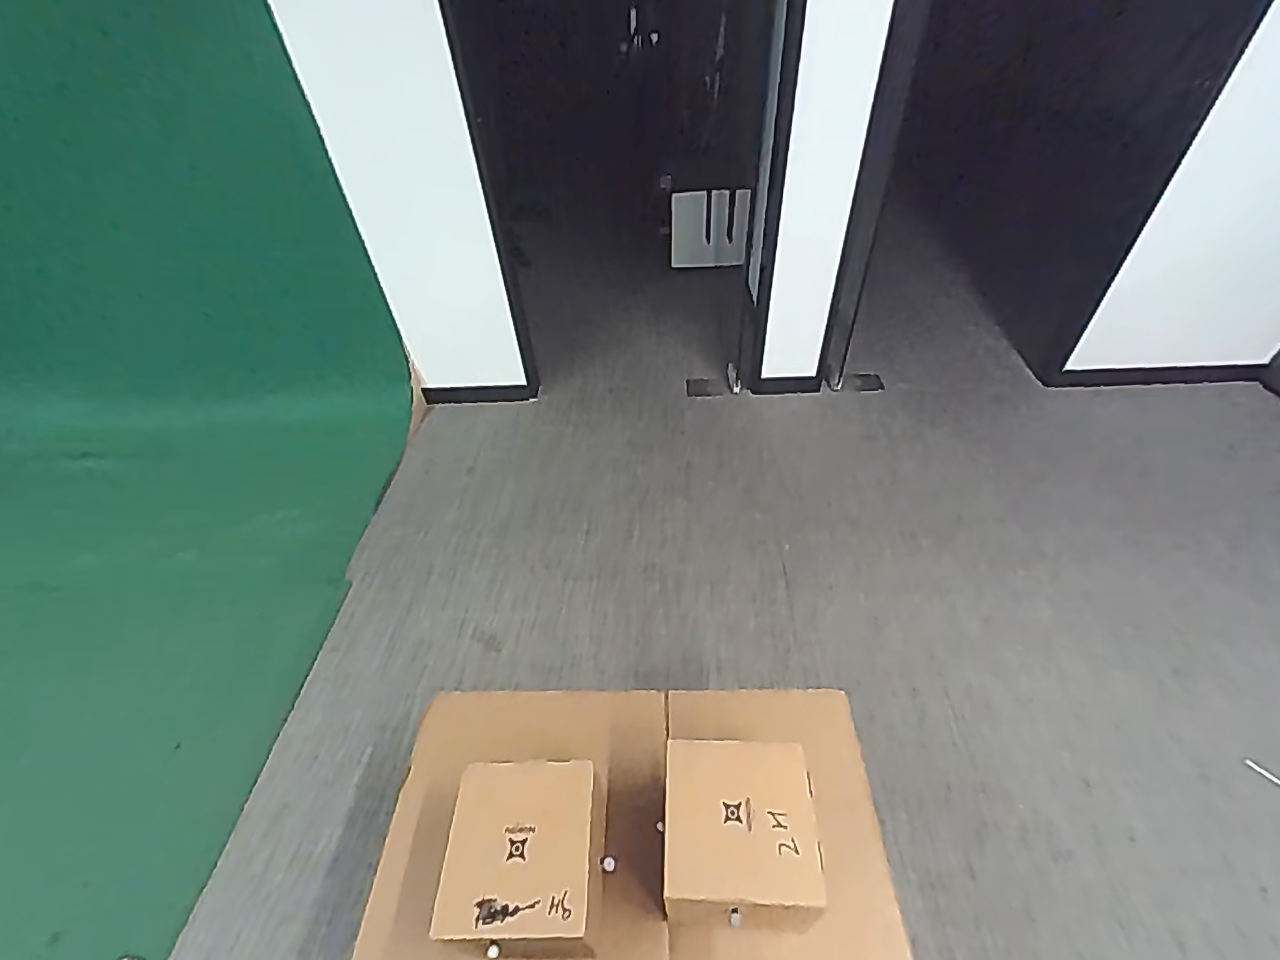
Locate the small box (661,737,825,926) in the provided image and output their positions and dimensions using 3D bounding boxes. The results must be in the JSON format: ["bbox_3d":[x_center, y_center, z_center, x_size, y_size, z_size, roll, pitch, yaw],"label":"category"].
[{"bbox_3d":[0.122,0.444,0.683,0.179,0.176,0.168,-1,44,6],"label":"small box"}]

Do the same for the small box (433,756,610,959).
[{"bbox_3d":[-0.130,0.469,0.675,0.168,0.176,0.179,-4,42,3],"label":"small box"}]
